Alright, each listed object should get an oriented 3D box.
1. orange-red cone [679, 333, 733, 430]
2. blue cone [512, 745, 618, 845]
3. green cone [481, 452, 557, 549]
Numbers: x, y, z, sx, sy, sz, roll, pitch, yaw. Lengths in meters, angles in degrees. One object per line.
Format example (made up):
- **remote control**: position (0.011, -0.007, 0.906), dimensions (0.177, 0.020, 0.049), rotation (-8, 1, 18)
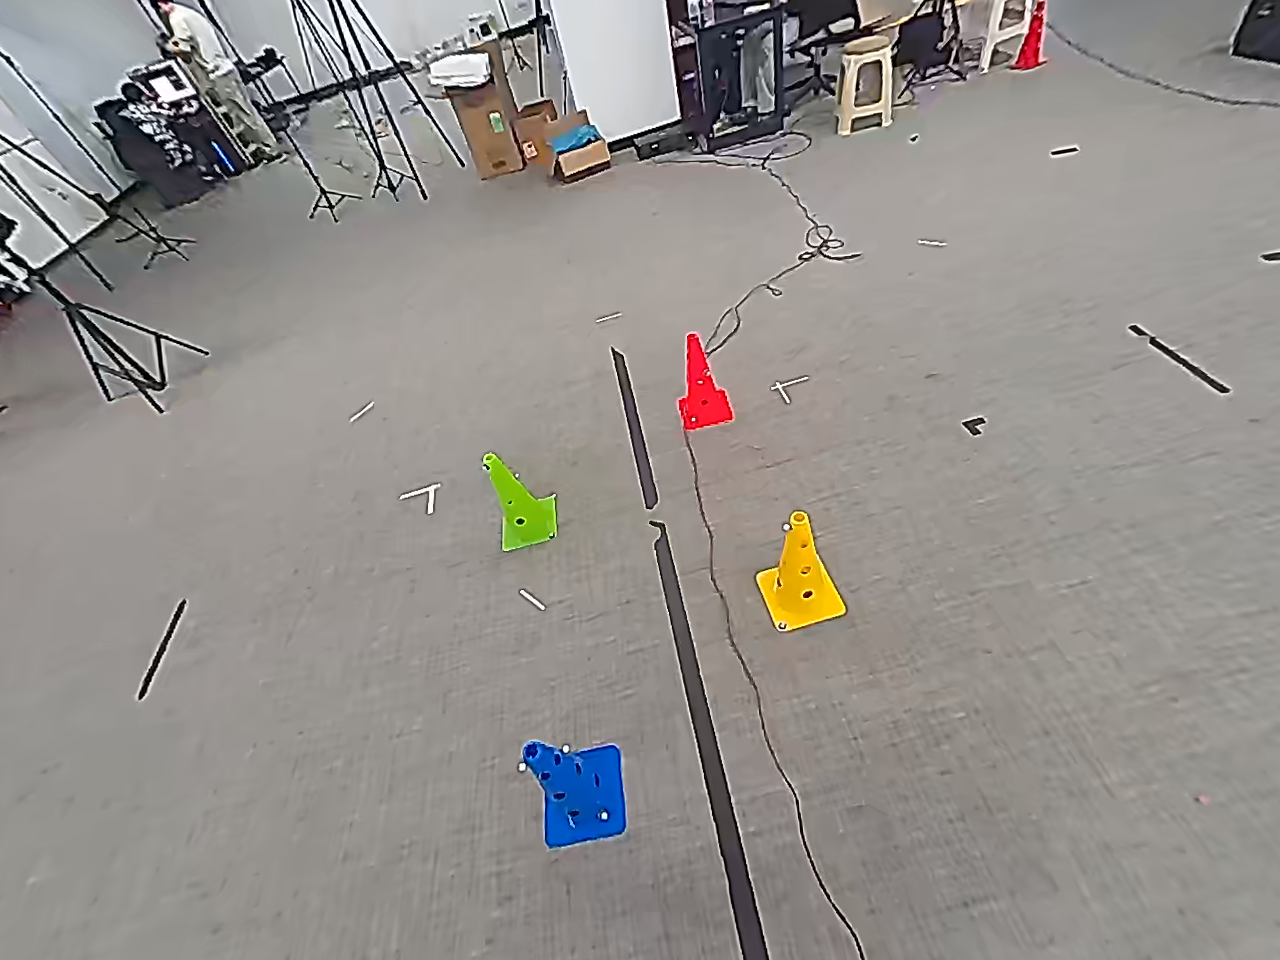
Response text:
- **orange-red cone**: position (0.226, -0.392, 2.029), dimensions (0.199, 0.360, 0.198), rotation (-11, 48, 5)
- **blue cone**: position (-0.186, 0.663, 1.207), dimensions (0.192, 0.380, 0.193), rotation (-13, 46, 6)
- **green cone**: position (-0.438, 0.036, 1.831), dimensions (0.202, 0.368, 0.200), rotation (-16, 46, 4)
